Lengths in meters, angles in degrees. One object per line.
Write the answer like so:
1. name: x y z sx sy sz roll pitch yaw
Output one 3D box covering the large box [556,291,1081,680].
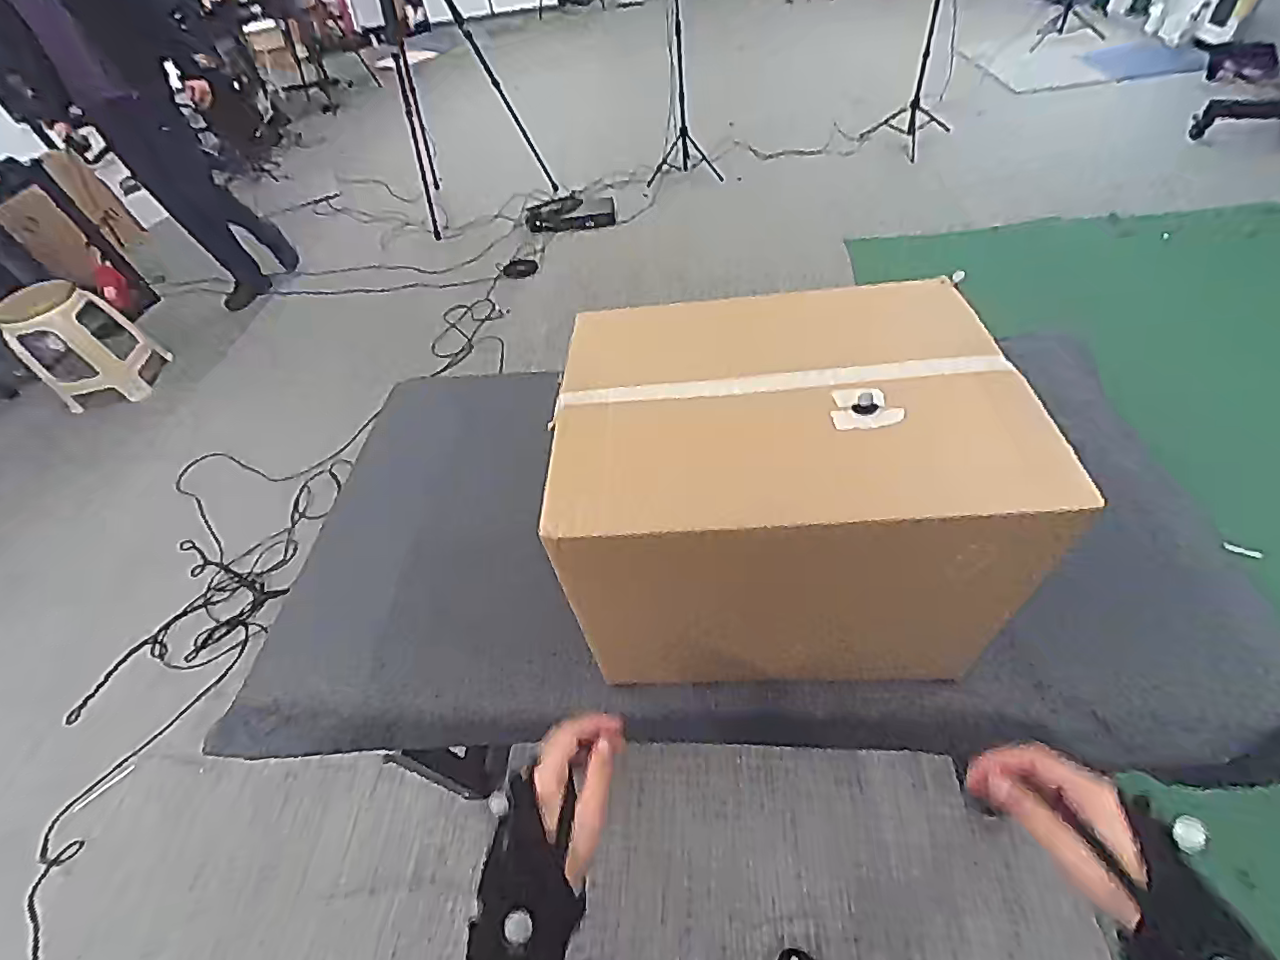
1. large box: 0.143 0.017 0.618 0.408 0.320 0.320 -3 49 5
